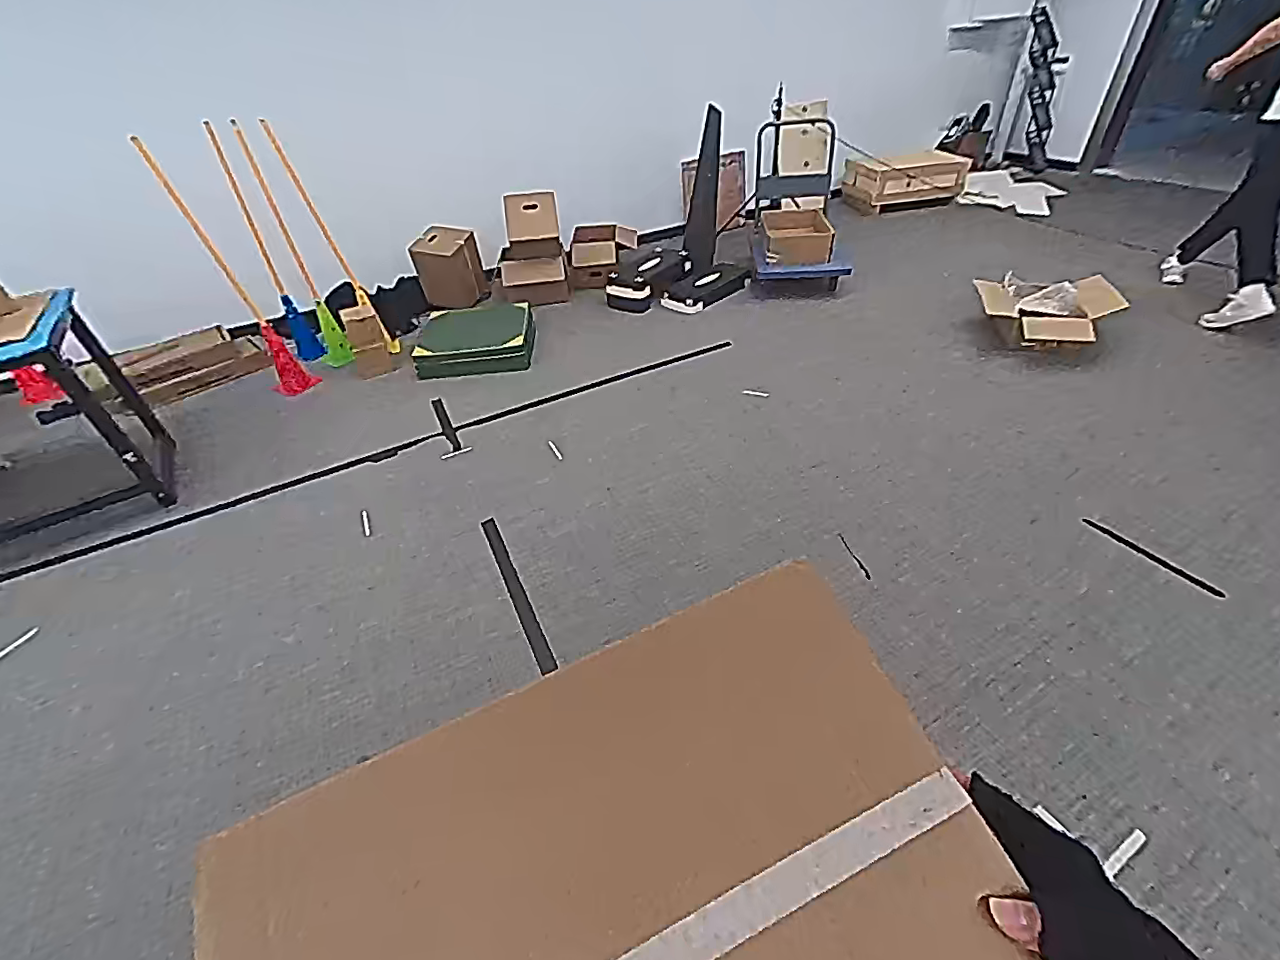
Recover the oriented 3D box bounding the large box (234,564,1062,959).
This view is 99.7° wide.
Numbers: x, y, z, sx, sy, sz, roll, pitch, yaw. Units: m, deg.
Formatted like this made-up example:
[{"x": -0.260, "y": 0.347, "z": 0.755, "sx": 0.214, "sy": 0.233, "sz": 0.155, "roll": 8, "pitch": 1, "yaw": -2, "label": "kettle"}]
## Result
[{"x": 0.007, "y": 0.330, "z": 0.415, "sx": 0.408, "sy": 0.320, "sz": 0.320, "roll": -23, "pitch": 63, "yaw": -10, "label": "large box"}]
